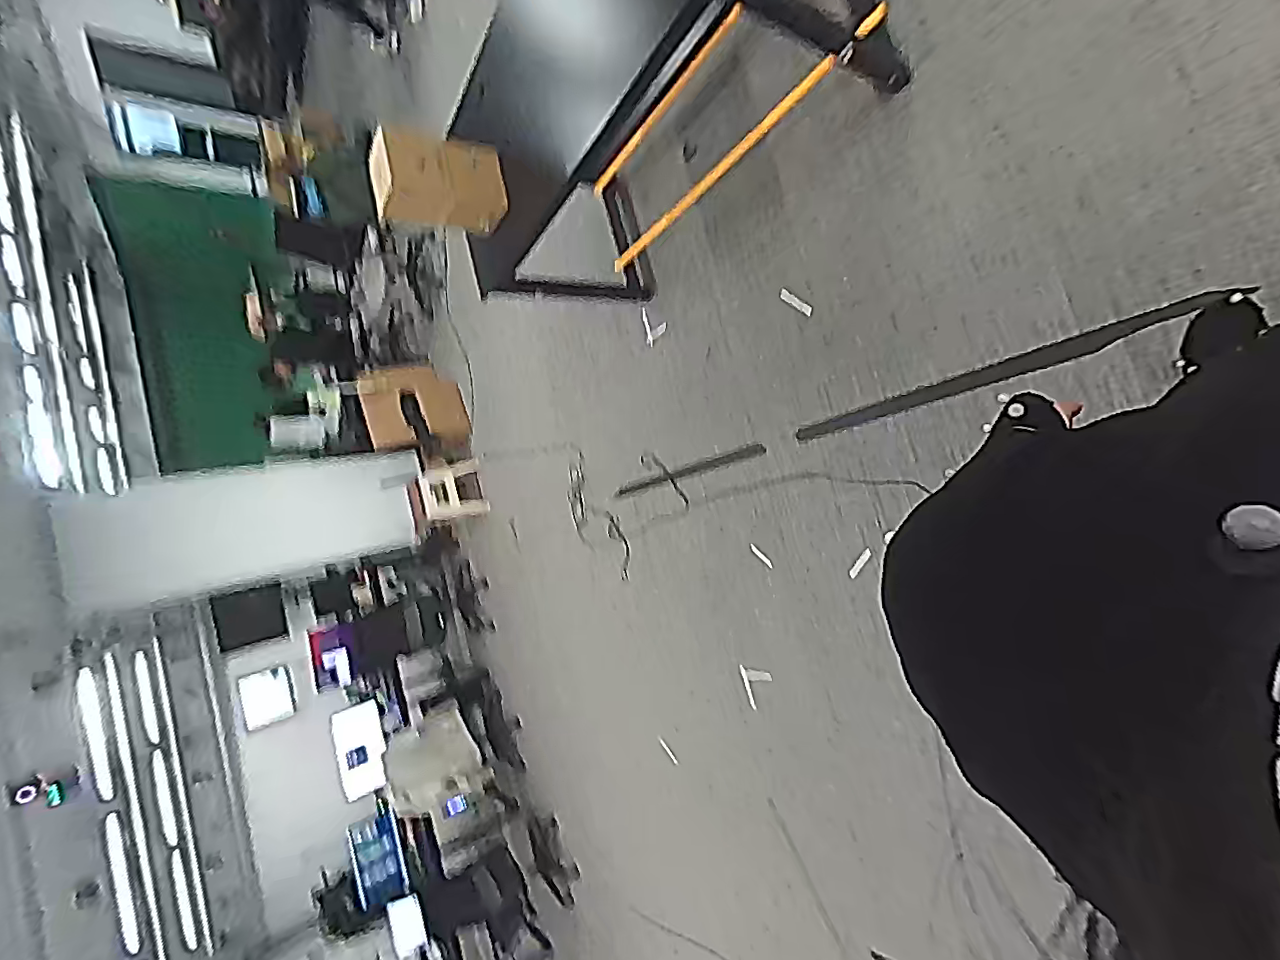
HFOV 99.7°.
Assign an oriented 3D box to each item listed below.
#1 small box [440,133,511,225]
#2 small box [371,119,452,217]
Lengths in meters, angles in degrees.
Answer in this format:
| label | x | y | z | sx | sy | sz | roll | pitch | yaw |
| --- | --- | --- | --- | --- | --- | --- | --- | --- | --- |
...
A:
| label | x | y | z | sx | sy | sz | roll | pitch | yaw |
| --- | --- | --- | --- | --- | --- | --- | --- | --- | --- |
| small box | -0.511 | -0.899 | 1.632 | 0.168 | 0.176 | 0.179 | -16 | 87 | 54 |
| small box | -0.646 | -0.878 | 1.538 | 0.179 | 0.176 | 0.168 | -15 | 86 | 54 |
